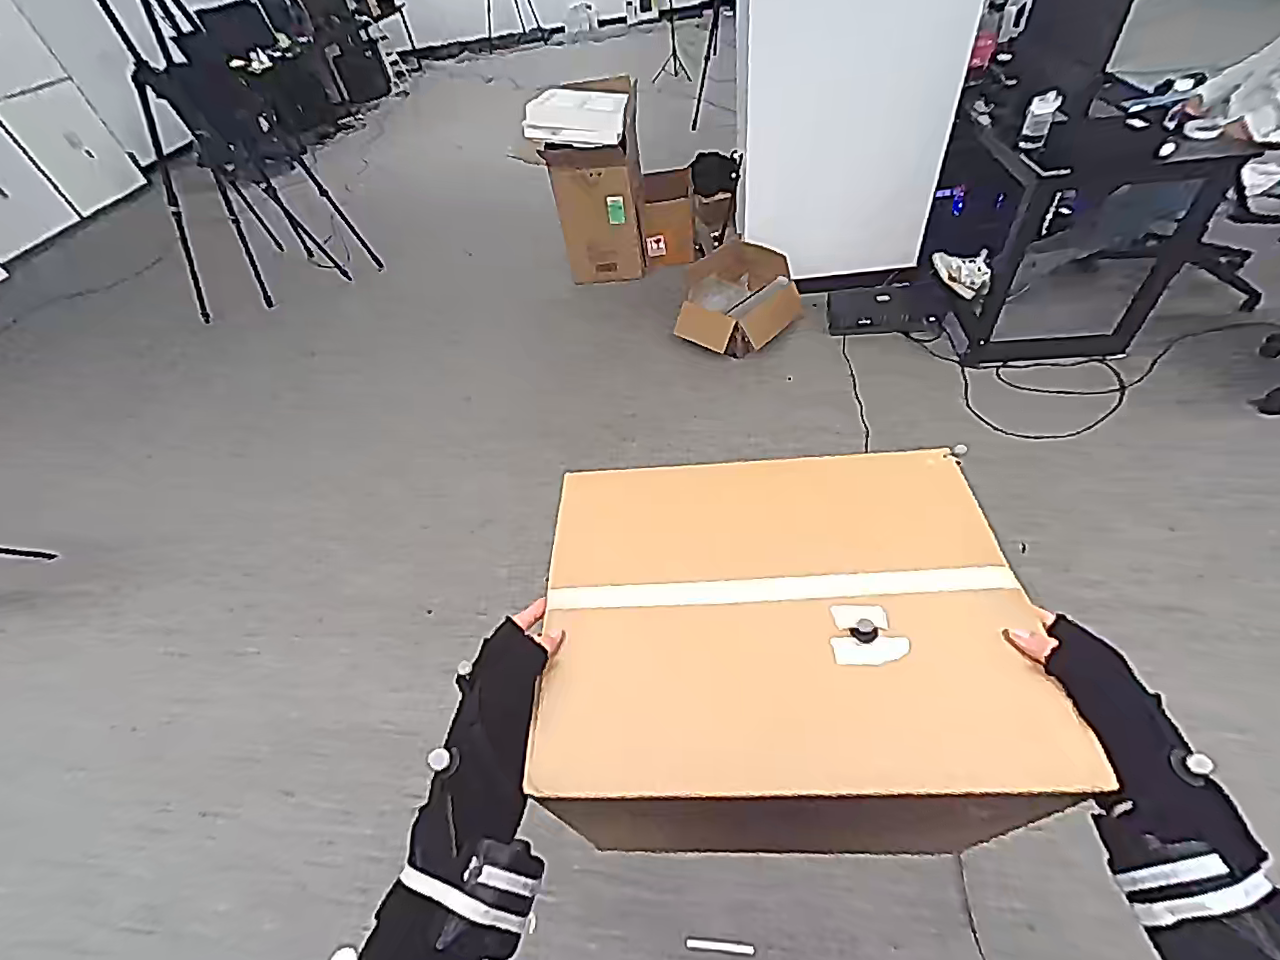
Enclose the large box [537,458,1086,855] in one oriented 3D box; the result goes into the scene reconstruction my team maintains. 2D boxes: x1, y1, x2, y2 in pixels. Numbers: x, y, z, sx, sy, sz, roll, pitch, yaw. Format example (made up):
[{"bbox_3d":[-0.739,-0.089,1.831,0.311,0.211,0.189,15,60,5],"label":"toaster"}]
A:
[{"bbox_3d":[0.131,0.203,0.599,0.408,0.320,0.320,-4,49,5],"label":"large box"}]
